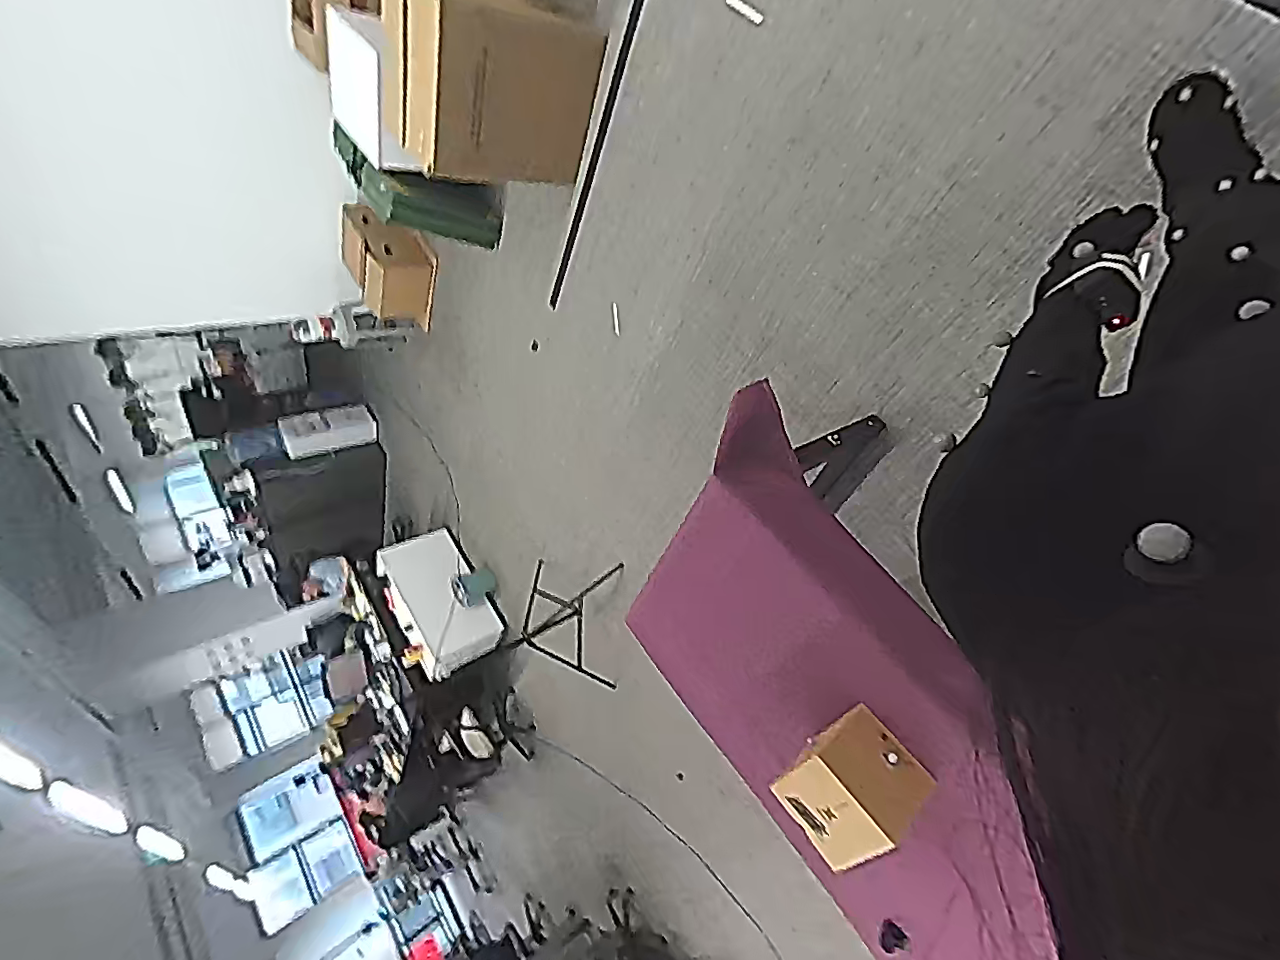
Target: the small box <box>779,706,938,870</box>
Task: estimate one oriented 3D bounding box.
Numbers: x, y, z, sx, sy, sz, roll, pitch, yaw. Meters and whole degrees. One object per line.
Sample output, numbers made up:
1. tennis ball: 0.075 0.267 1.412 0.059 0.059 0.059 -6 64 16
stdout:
1. small box: 0.391 0.545 0.968 0.168 0.176 0.179 47 137 26
